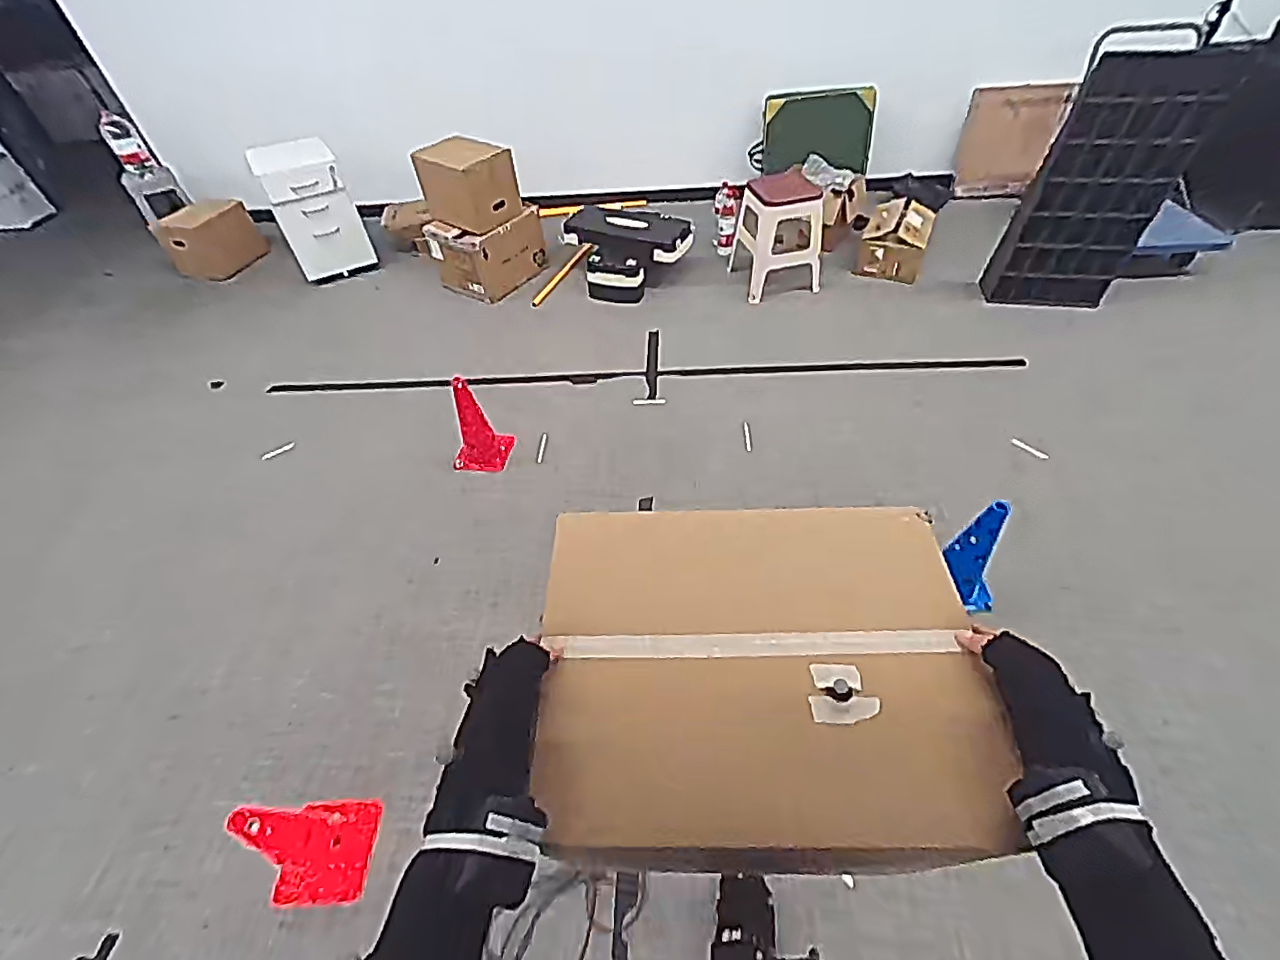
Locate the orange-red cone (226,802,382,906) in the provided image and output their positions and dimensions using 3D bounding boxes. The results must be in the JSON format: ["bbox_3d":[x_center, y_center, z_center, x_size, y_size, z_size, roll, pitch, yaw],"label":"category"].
[{"bbox_3d":[-0.723,0.745,1.118,0.198,0.360,0.199,-4,49,3],"label":"orange-red cone"}]

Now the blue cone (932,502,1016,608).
[{"bbox_3d":[0.933,0.193,1.511,0.192,0.380,0.193,2,48,5],"label":"blue cone"}]

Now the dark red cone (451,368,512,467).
[{"bbox_3d":[-0.616,-0.234,1.968,0.201,0.394,0.202,4,48,7],"label":"dark red cone"}]

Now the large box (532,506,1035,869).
[{"bbox_3d":[0.113,0.248,0.629,0.408,0.320,0.320,-1,51,2],"label":"large box"}]
